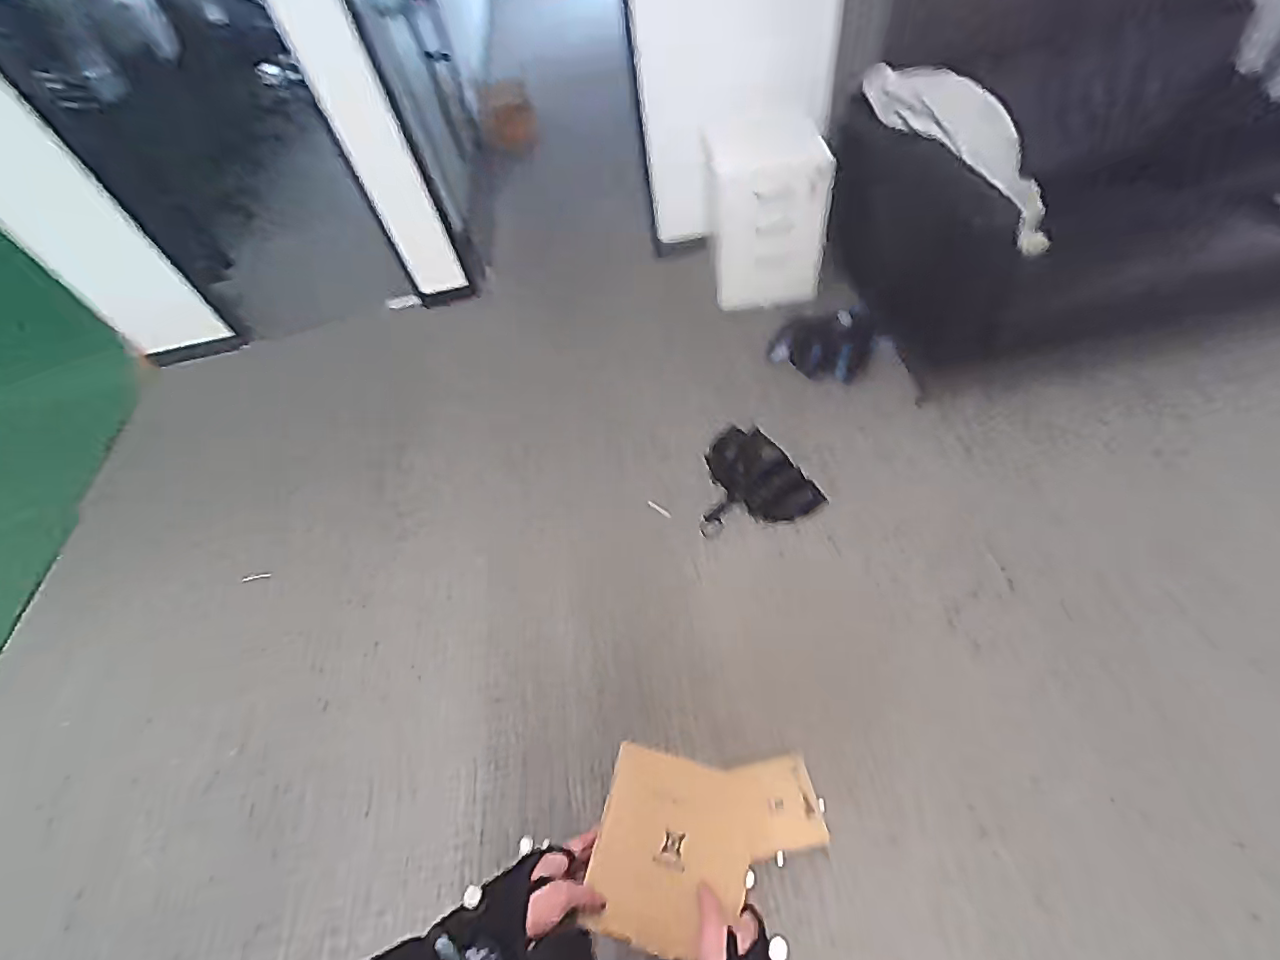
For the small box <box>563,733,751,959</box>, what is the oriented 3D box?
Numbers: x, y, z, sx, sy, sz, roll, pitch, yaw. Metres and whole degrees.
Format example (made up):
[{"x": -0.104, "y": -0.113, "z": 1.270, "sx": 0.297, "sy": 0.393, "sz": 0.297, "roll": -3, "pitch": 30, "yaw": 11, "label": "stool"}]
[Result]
[{"x": 0.020, "y": 0.423, "z": 0.627, "sx": 0.168, "sy": 0.176, "sz": 0.179, "roll": 14, "pitch": 54, "yaw": 6, "label": "small box"}]

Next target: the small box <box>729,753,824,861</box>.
[{"x": 0.283, "y": 0.720, "z": 1.185, "sx": 0.179, "sy": 0.176, "sz": 0.168, "roll": -13, "pitch": 52, "yaw": 0, "label": "small box"}]
